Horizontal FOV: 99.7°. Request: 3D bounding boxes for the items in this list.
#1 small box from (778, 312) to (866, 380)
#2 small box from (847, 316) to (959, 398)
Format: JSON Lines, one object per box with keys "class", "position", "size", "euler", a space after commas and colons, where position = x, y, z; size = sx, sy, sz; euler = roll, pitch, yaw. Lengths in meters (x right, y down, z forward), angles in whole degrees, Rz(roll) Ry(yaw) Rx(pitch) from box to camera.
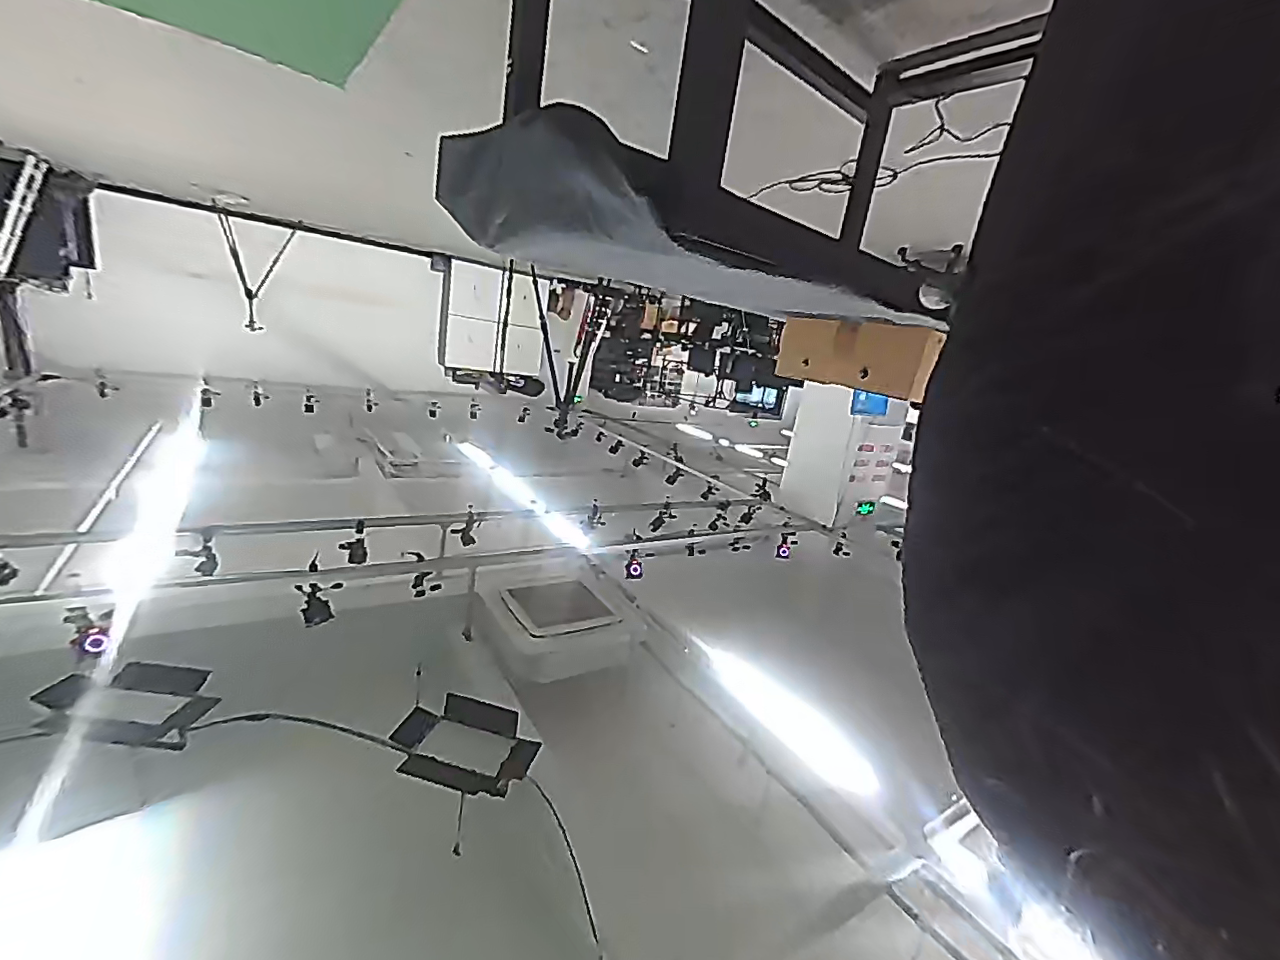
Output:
{"class": "small box", "position": [0.524, -0.381, 1.535], "size": [0.168, 0.176, 0.179], "euler": [-3, -161, -37]}
{"class": "small box", "position": [0.655, -0.311, 1.351], "size": [0.168, 0.176, 0.179], "euler": [-4, -160, -38]}
